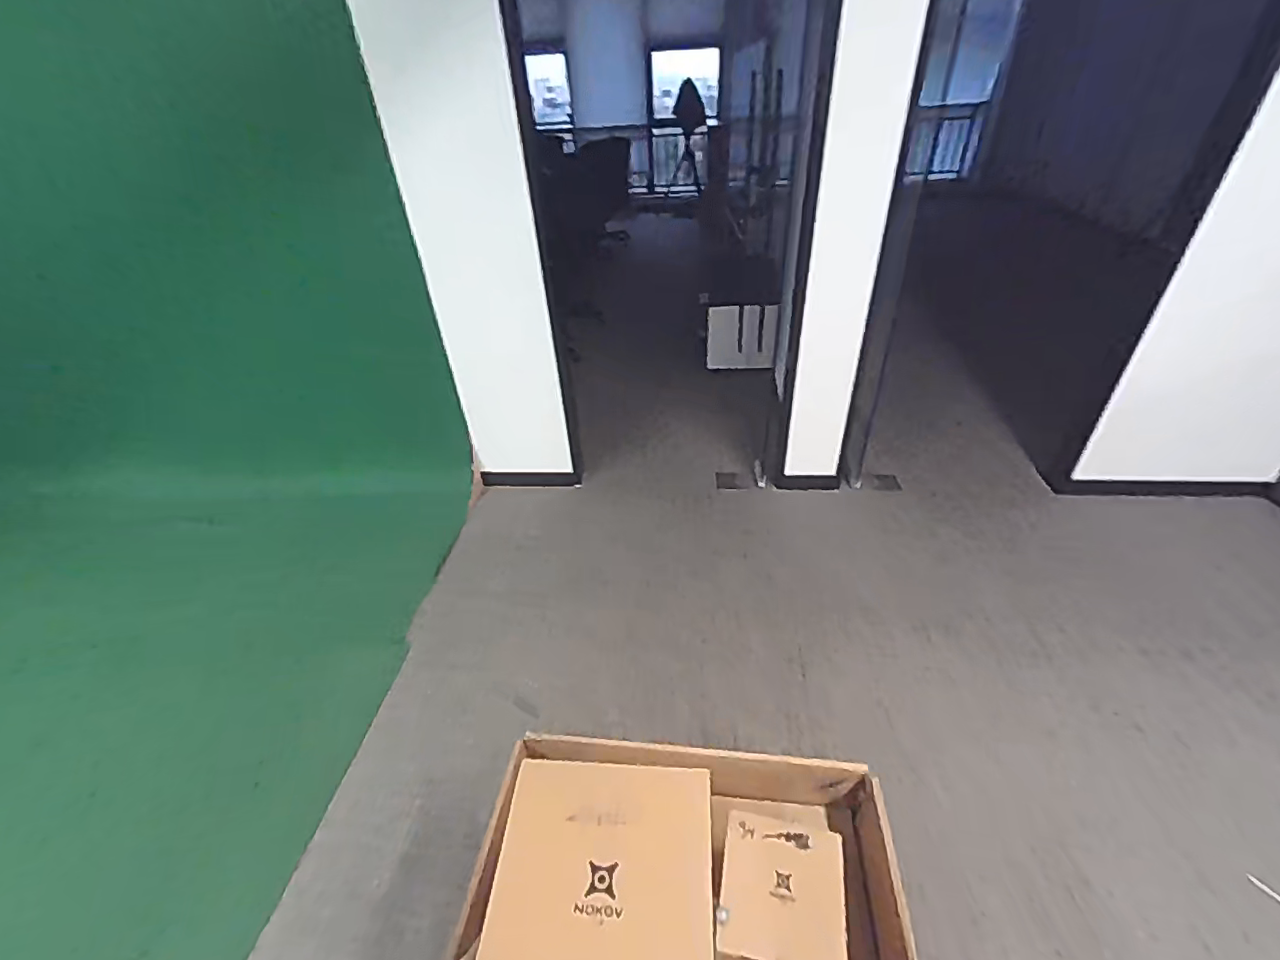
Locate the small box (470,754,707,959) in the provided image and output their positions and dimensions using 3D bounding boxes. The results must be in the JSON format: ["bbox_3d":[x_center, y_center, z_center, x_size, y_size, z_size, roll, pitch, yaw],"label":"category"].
[{"bbox_3d":[-0.027,0.360,0.460,0.168,0.176,0.179,0,41,6],"label":"small box"}]
